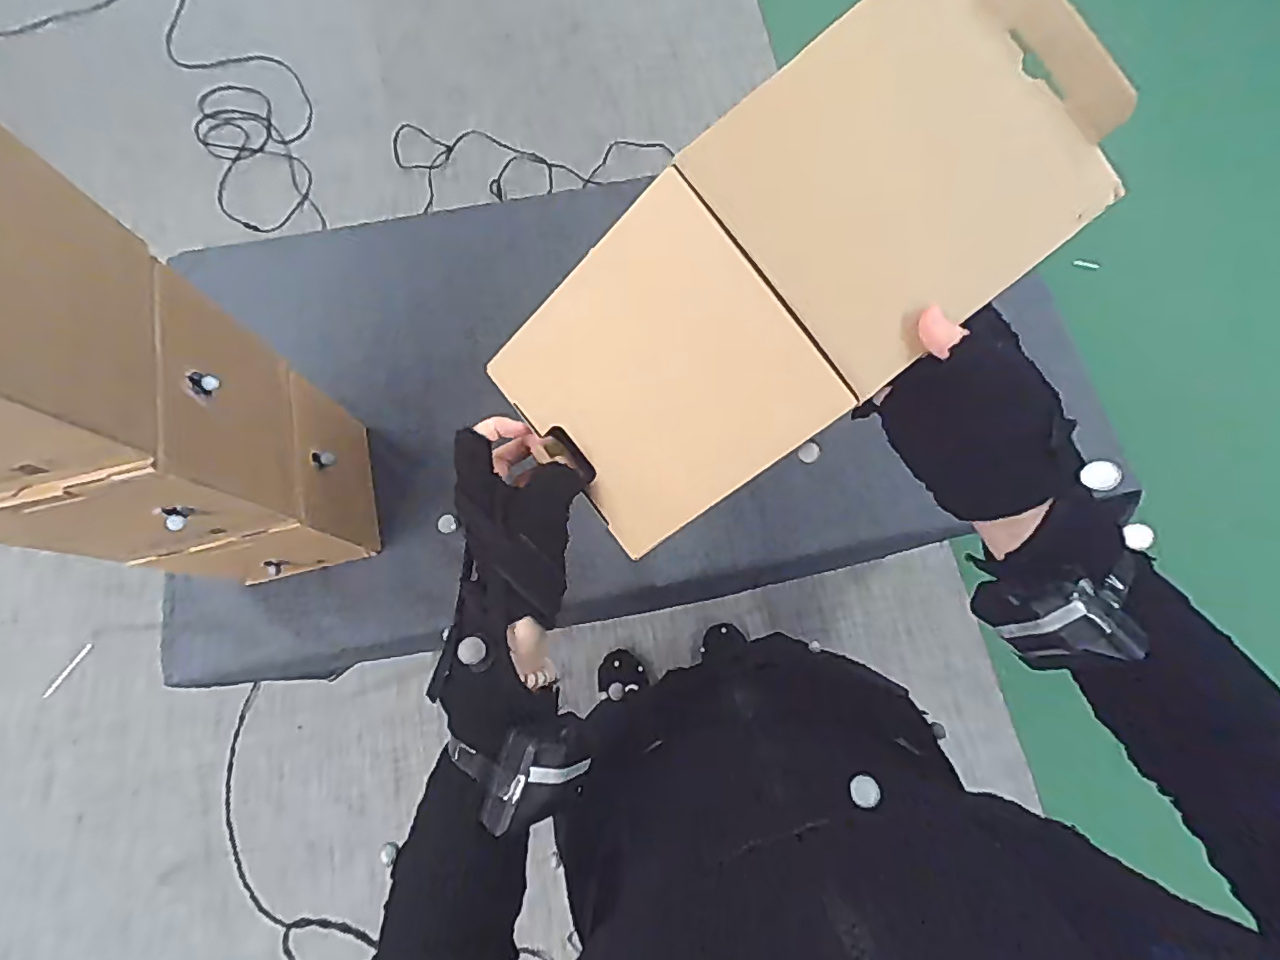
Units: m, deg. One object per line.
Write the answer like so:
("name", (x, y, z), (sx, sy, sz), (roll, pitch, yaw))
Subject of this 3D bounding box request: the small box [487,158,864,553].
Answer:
("small box", (0.035, -0.082, 0.392), (0.179, 0.176, 0.168), (-37, 90, 26))

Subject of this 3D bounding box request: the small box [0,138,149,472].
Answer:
("small box", (-0.419, -0.102, 0.295), (0.168, 0.176, 0.179), (-14, 74, -5))

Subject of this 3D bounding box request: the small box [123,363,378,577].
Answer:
("small box", (-0.418, -0.001, 0.606), (0.168, 0.176, 0.179), (-13, 74, -4))

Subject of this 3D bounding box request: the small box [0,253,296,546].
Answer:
("small box", (-0.417, -0.049, 0.451), (0.168, 0.176, 0.179), (-13, 74, -5))
